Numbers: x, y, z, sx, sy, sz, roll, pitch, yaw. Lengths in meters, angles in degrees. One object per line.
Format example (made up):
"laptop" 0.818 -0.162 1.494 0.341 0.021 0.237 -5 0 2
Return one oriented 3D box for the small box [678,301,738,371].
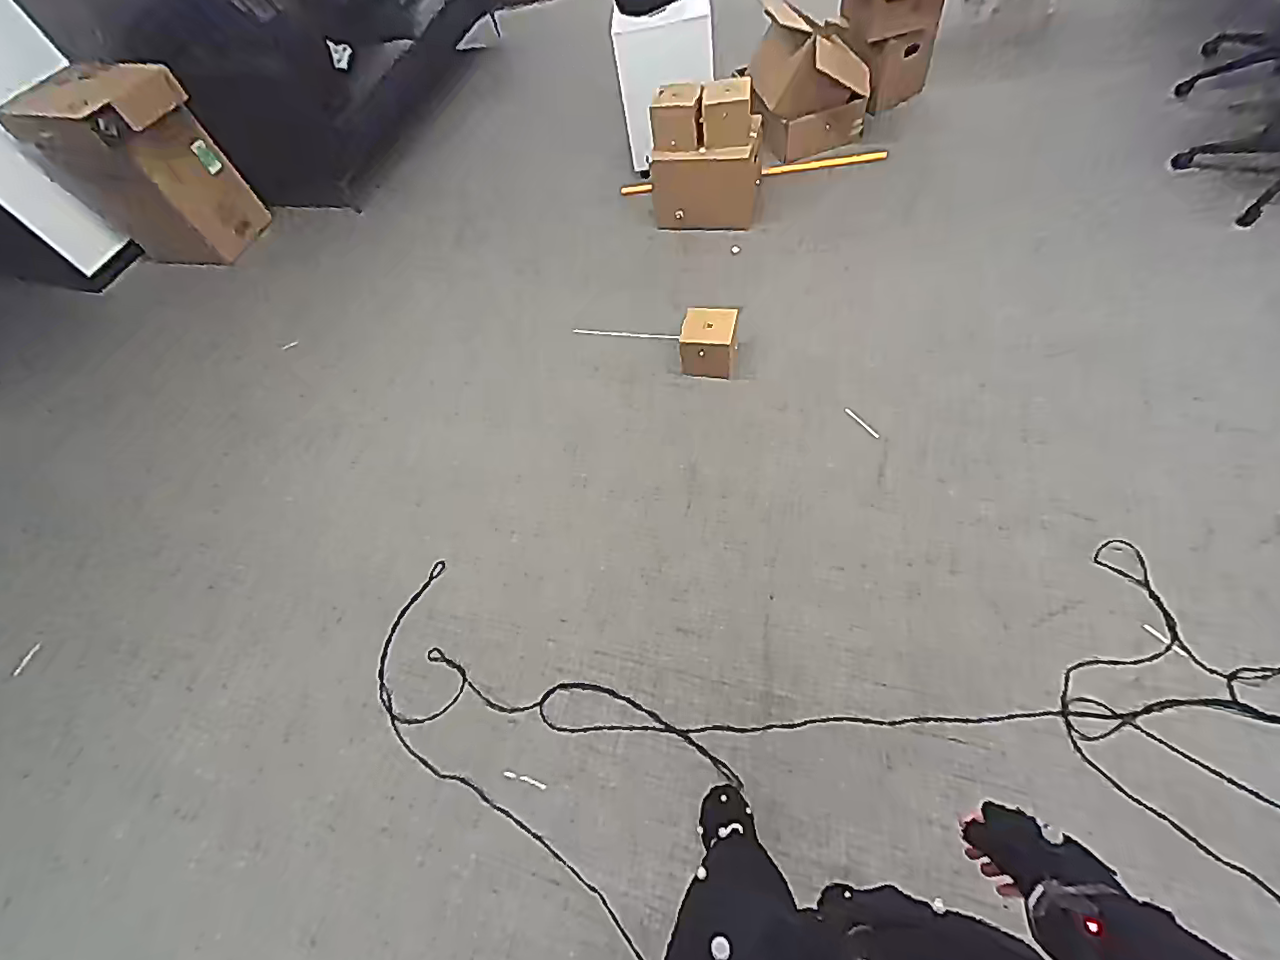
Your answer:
"small box" 0.241 -0.493 1.863 0.179 0.176 0.168 7 61 16
